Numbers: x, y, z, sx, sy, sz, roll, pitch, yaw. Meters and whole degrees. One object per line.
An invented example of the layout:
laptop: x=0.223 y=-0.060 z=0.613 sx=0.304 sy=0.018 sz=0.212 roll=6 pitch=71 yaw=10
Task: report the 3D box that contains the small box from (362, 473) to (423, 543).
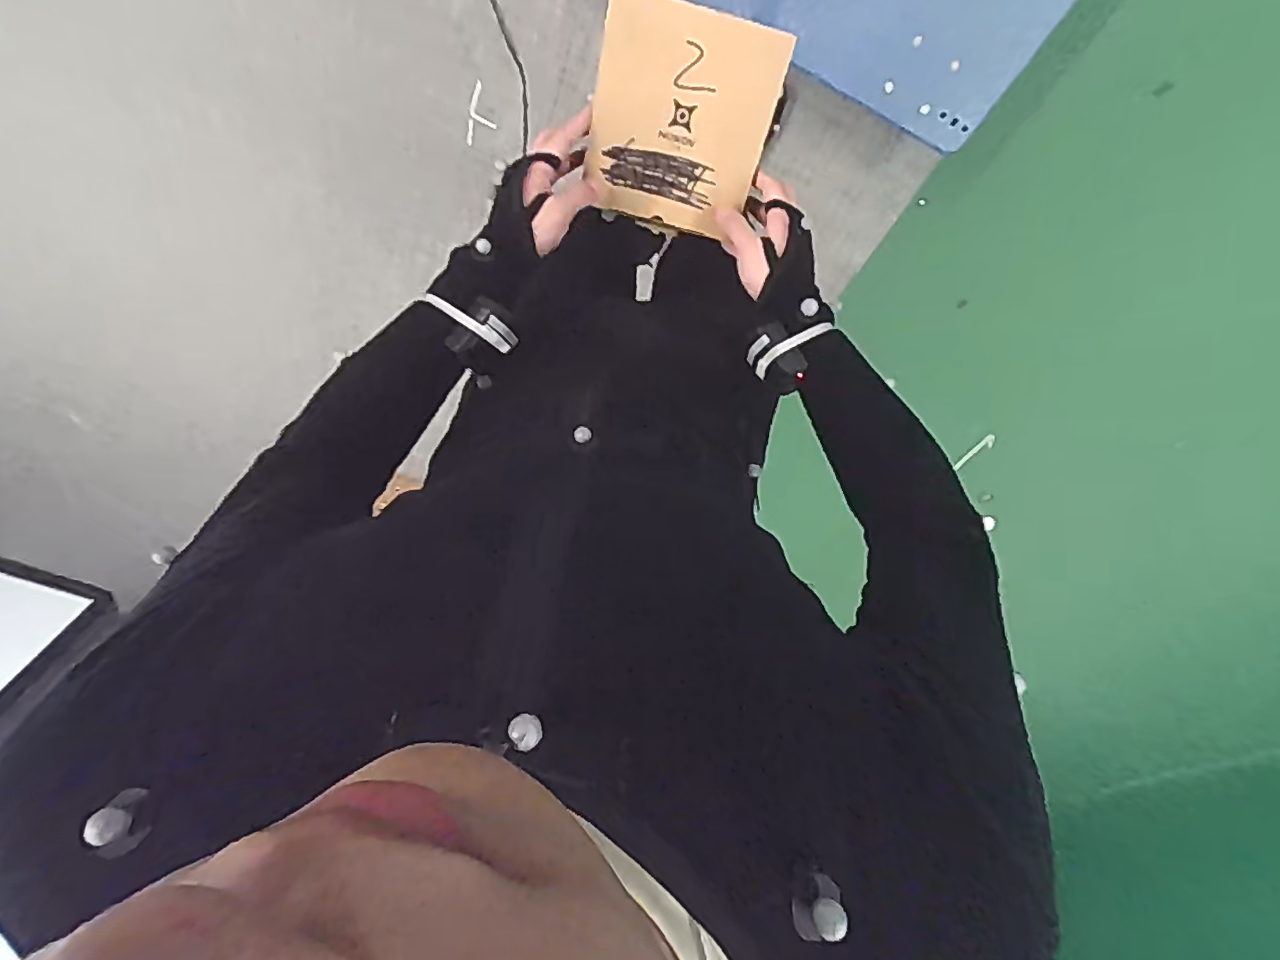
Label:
small box: x=-0.962 y=0.104 z=2.089 sx=0.168 sy=0.176 sz=0.179 roll=25 pitch=131 yaw=-12
